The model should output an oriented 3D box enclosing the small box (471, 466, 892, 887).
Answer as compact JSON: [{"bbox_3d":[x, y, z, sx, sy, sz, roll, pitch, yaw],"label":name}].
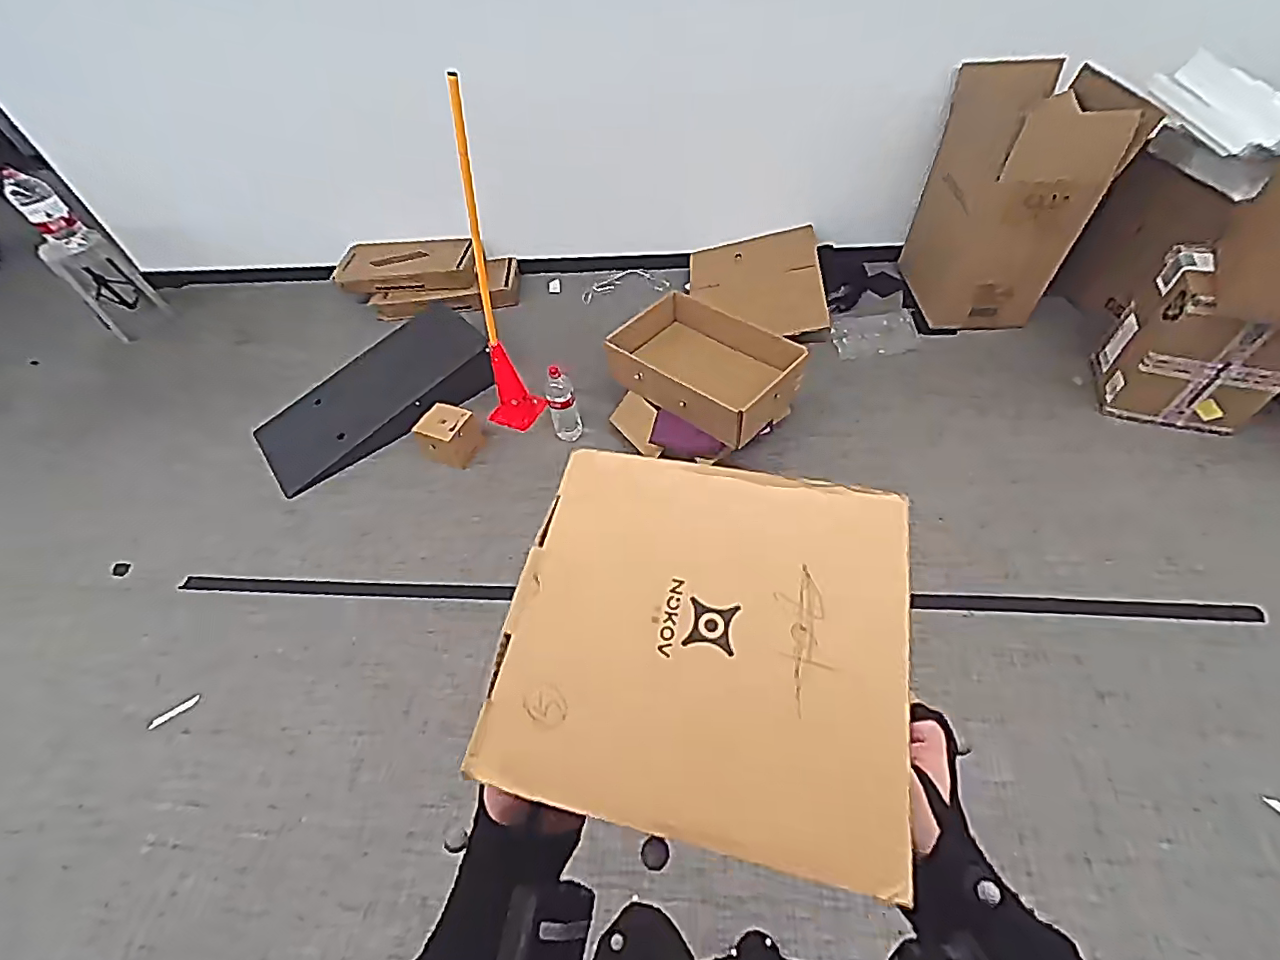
[{"bbox_3d":[0.035,0.112,0.323,0.179,0.176,0.168,8,61,11],"label":"small box"}]
